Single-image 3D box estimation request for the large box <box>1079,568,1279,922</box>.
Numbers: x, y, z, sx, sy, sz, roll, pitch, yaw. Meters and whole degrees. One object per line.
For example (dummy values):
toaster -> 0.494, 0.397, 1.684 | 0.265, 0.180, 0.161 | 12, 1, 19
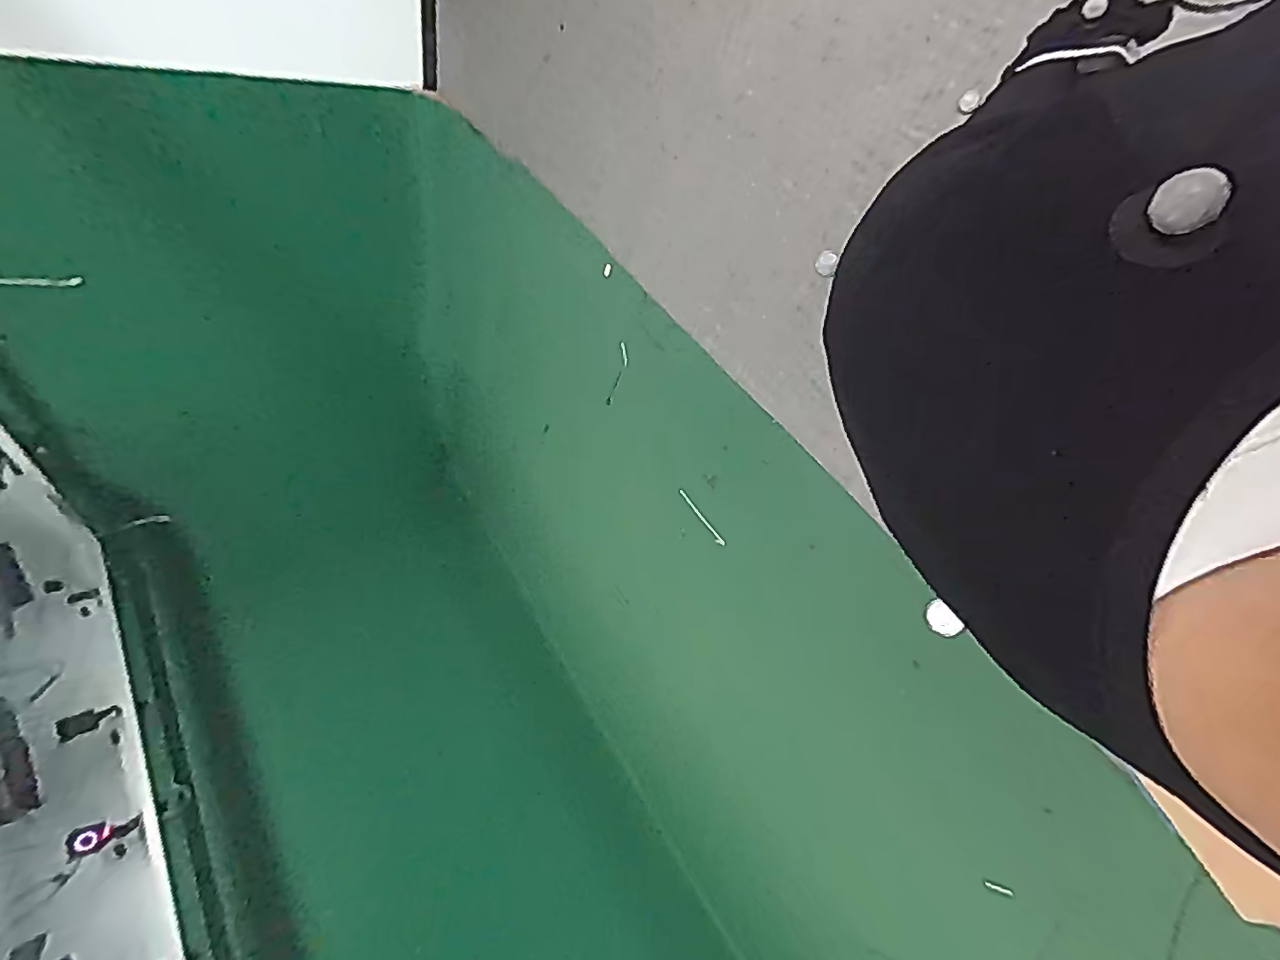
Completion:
large box -> 1.032, 0.404, 0.858 | 0.408, 0.320, 0.320 | 58, 145, 14
